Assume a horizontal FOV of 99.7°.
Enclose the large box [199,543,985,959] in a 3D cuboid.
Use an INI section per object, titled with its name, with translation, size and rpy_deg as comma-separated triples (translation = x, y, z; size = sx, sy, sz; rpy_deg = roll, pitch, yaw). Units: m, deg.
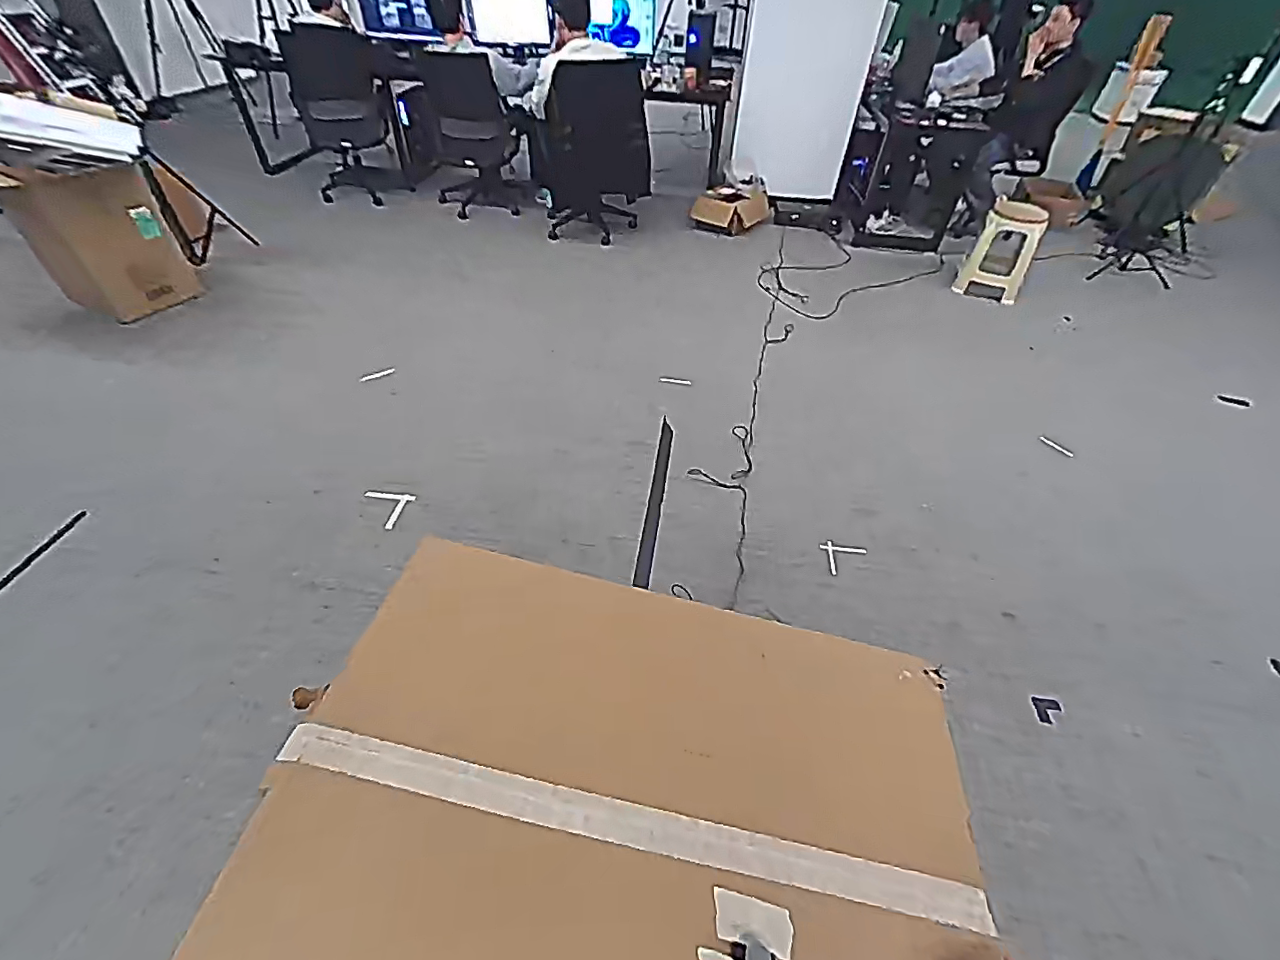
[large box]
translation = -0.022, 0.301, 0.428
size = 0.408, 0.320, 0.320
rpy_deg = 14, 46, 1
